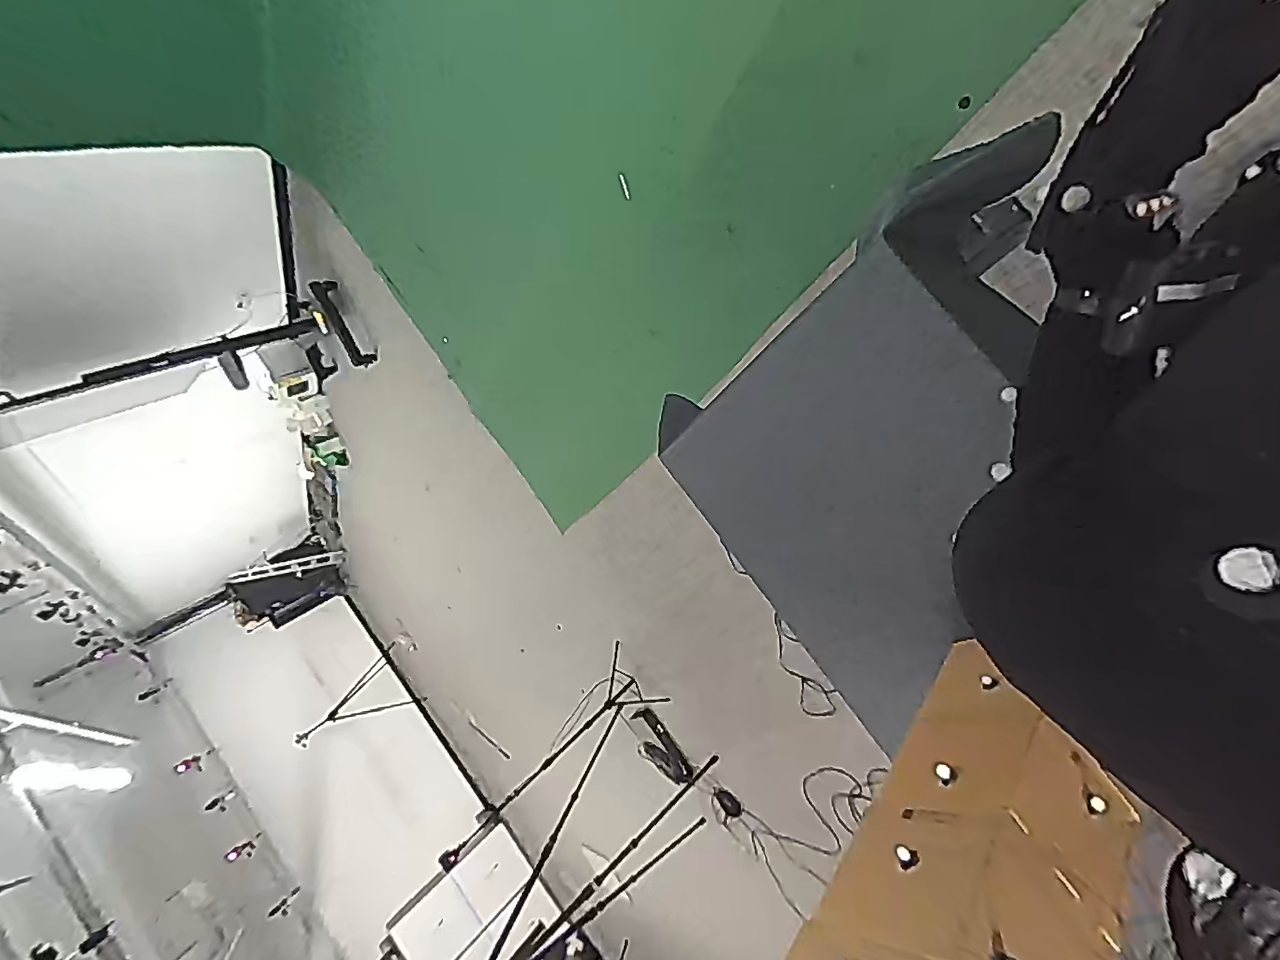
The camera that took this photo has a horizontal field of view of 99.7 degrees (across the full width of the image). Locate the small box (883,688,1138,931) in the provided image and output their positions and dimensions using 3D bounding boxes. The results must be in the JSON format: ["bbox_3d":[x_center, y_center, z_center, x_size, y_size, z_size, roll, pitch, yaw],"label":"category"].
[{"bbox_3d":[0.442,0.378,0.650,0.168,0.176,0.179,53,142,6],"label":"small box"}]

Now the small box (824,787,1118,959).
[{"bbox_3d":[0.332,0.445,0.548,0.179,0.176,0.168,54,143,5],"label":"small box"}]

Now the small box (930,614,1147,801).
[{"bbox_3d":[0.552,0.310,0.748,0.168,0.176,0.179,53,143,7],"label":"small box"}]
